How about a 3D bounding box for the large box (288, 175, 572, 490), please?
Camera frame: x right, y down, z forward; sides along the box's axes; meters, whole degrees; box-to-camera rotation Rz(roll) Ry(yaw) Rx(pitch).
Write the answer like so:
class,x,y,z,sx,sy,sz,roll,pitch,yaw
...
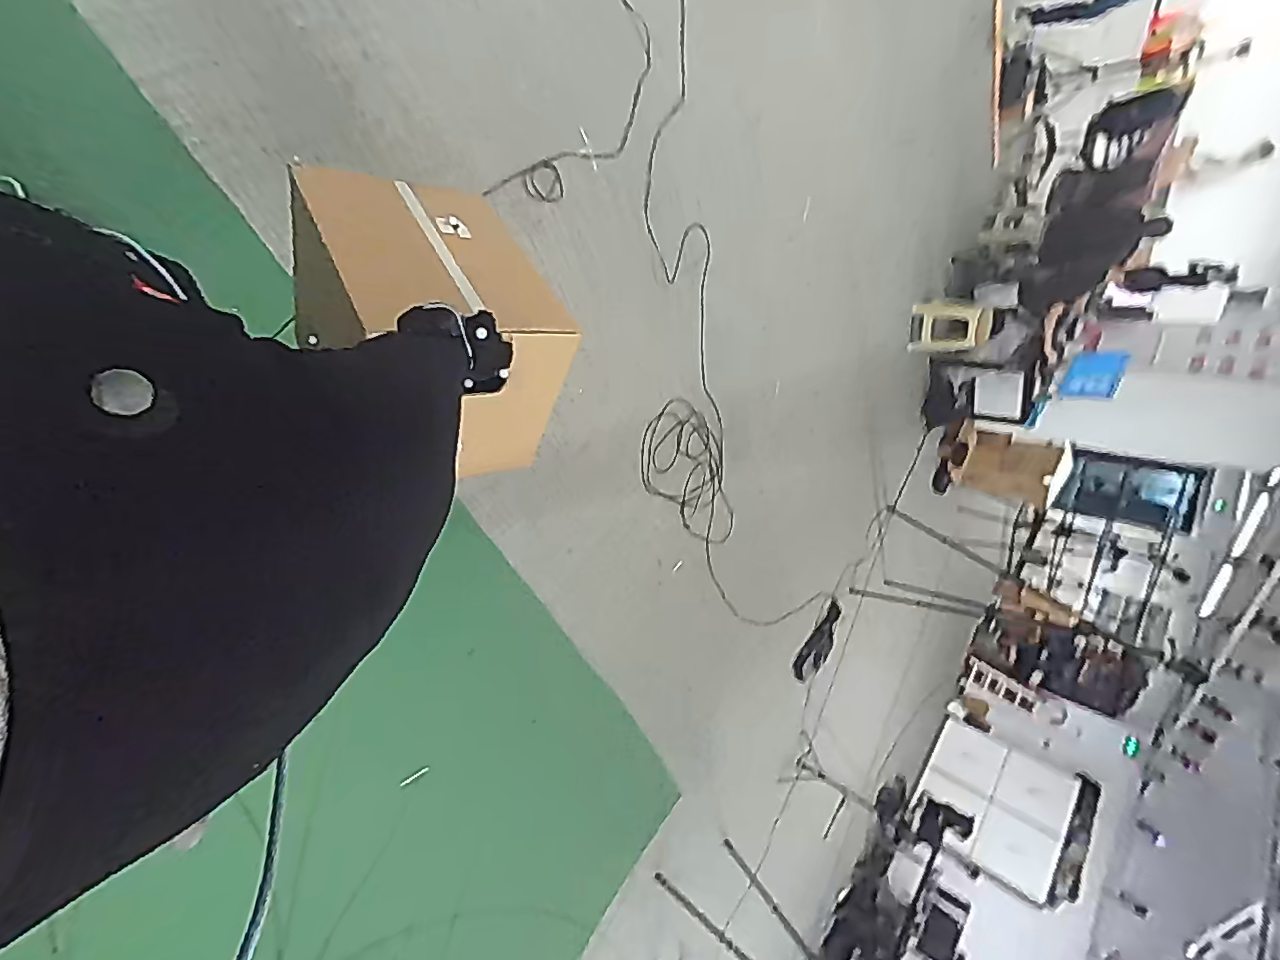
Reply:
class,x,y,z,sx,sy,sz,roll,pitch,yaw
large box,-0.379,-0.248,0.935,0.320,0.408,0.320,-11,146,-39
